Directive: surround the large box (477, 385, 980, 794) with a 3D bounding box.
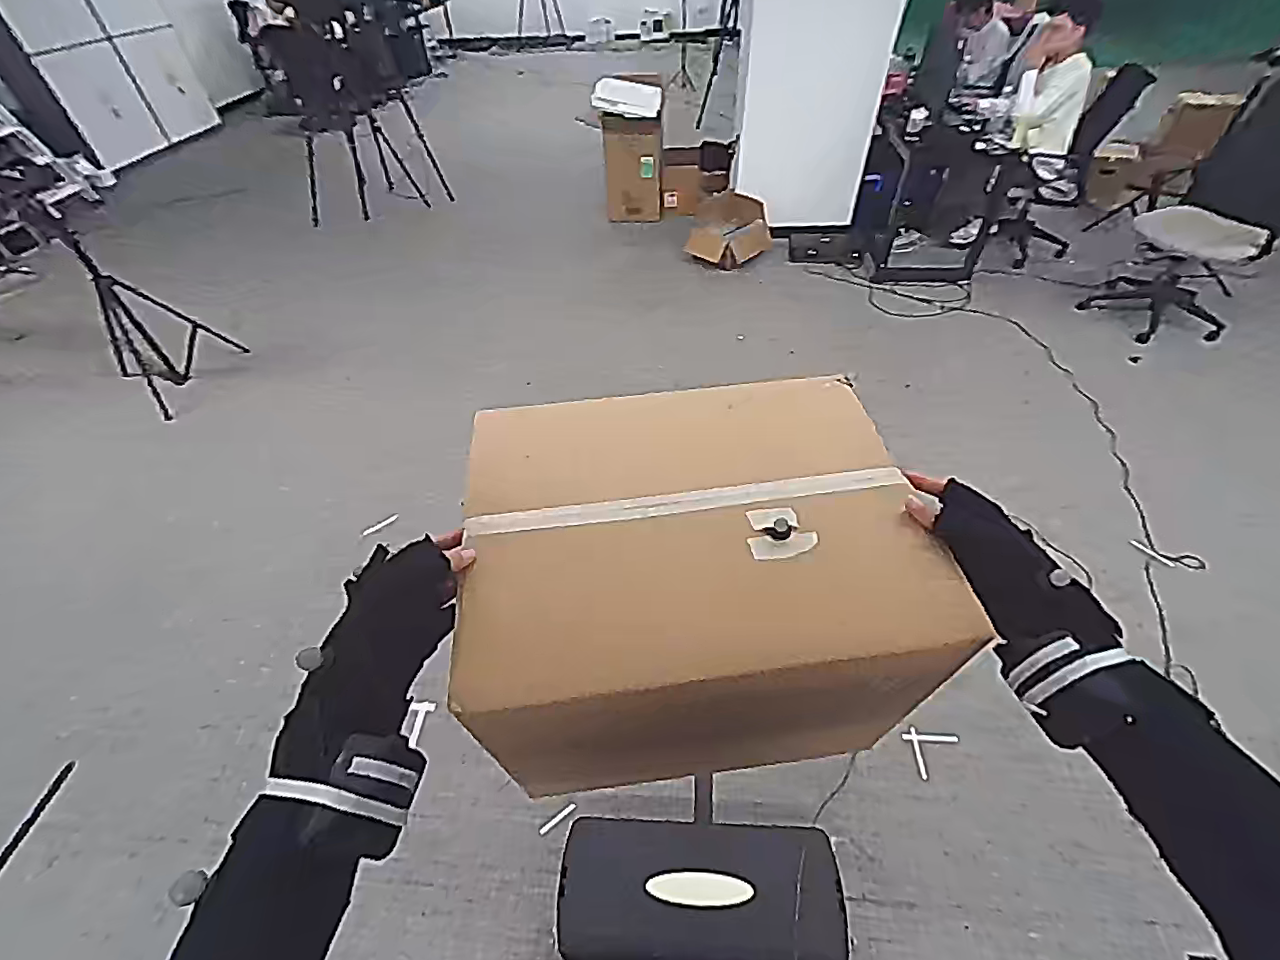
[{"bbox_3d":[0.055,0.126,0.616,0.408,0.320,0.320,-6,50,-4],"label":"large box"}]
